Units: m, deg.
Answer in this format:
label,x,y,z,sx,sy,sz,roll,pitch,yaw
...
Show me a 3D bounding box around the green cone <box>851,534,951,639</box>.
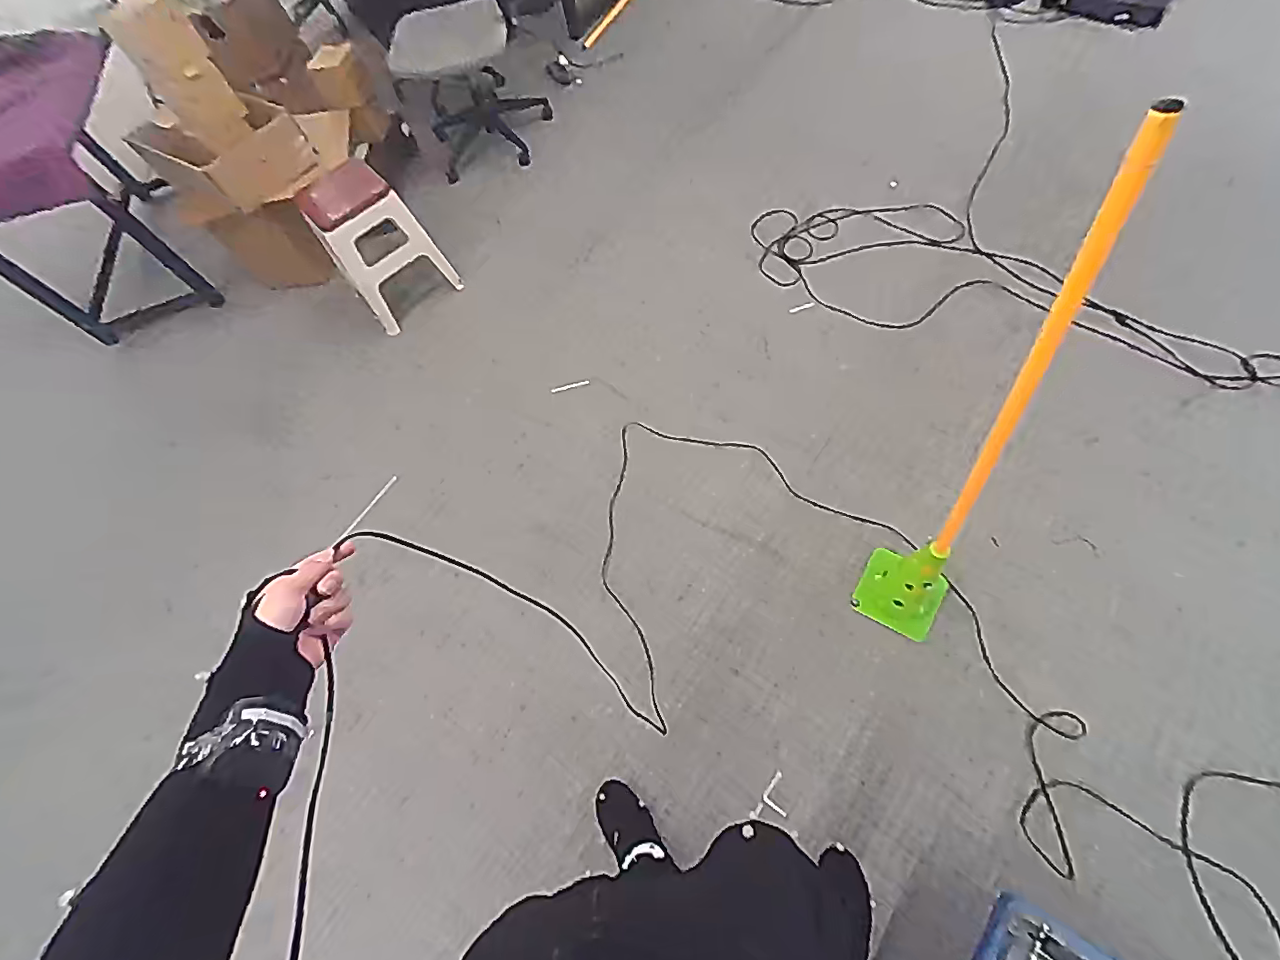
label,x,y,z,sx,sy,sz,roll,pitch,yaw
green cone,0.668,0.220,1.299,0.200,0.368,0.202,26,70,21
